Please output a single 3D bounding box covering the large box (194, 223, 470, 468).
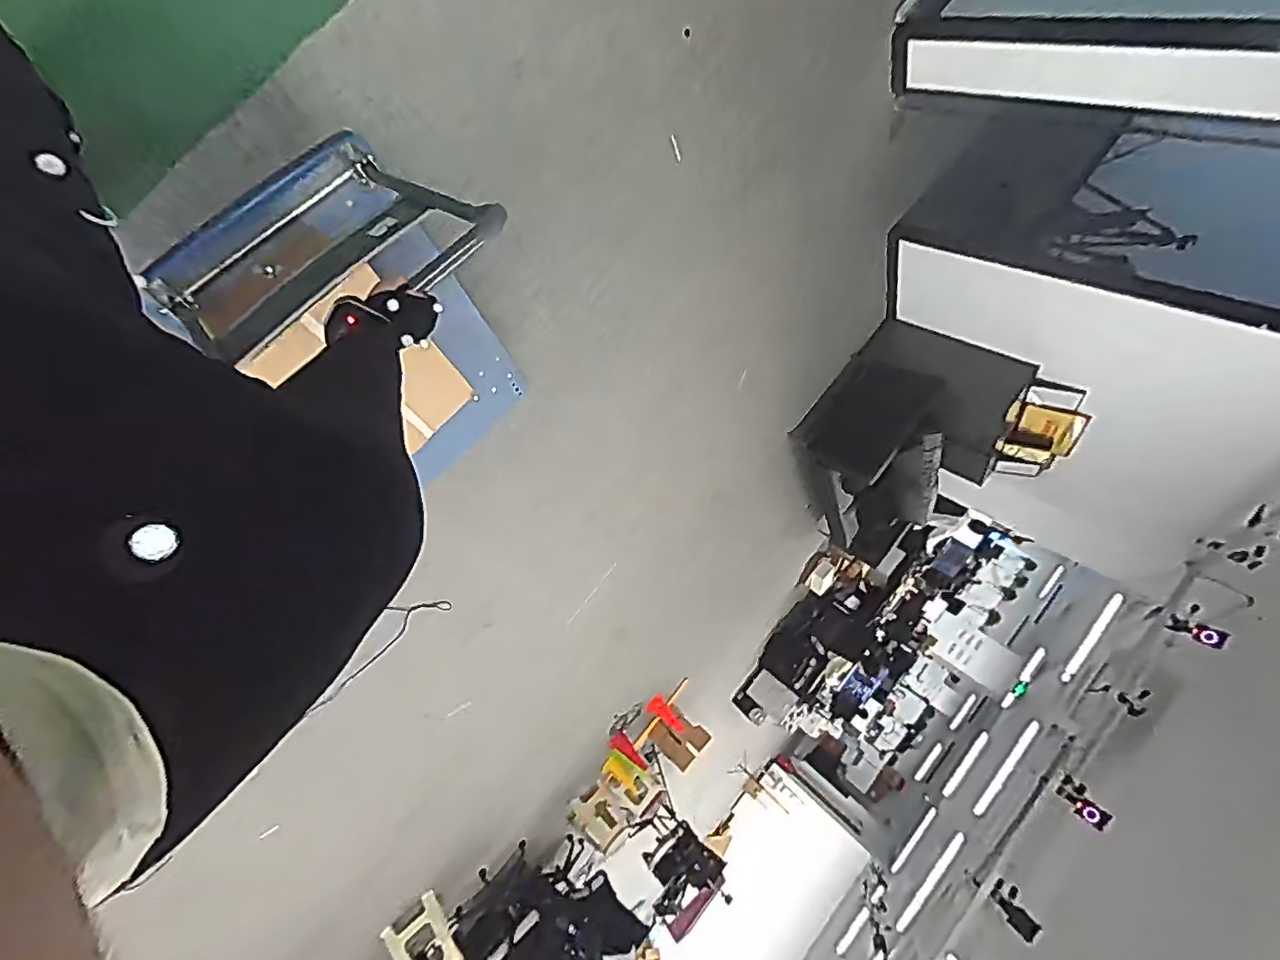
[{"bbox_3d":[-0.691,-0.303,1.256,0.320,0.320,0.408,-47,147,-12],"label":"large box"}]
